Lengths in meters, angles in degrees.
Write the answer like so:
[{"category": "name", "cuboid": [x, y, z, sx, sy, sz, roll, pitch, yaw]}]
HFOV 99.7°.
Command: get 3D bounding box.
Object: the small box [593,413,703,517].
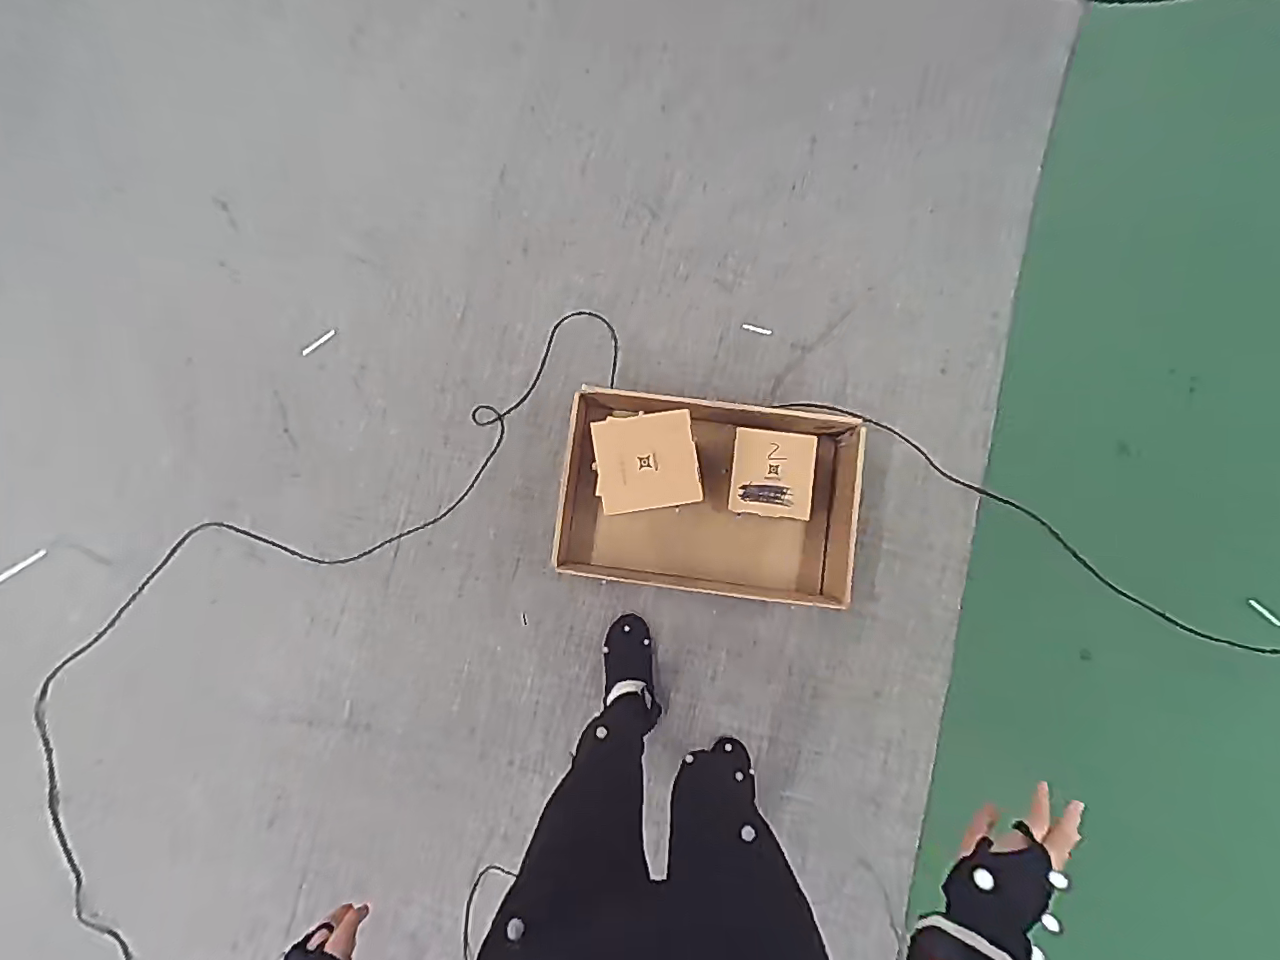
[{"category": "small box", "cuboid": [0.012, -0.023, 1.014, 0.179, 0.176, 0.168, -8, 86, 0]}]
